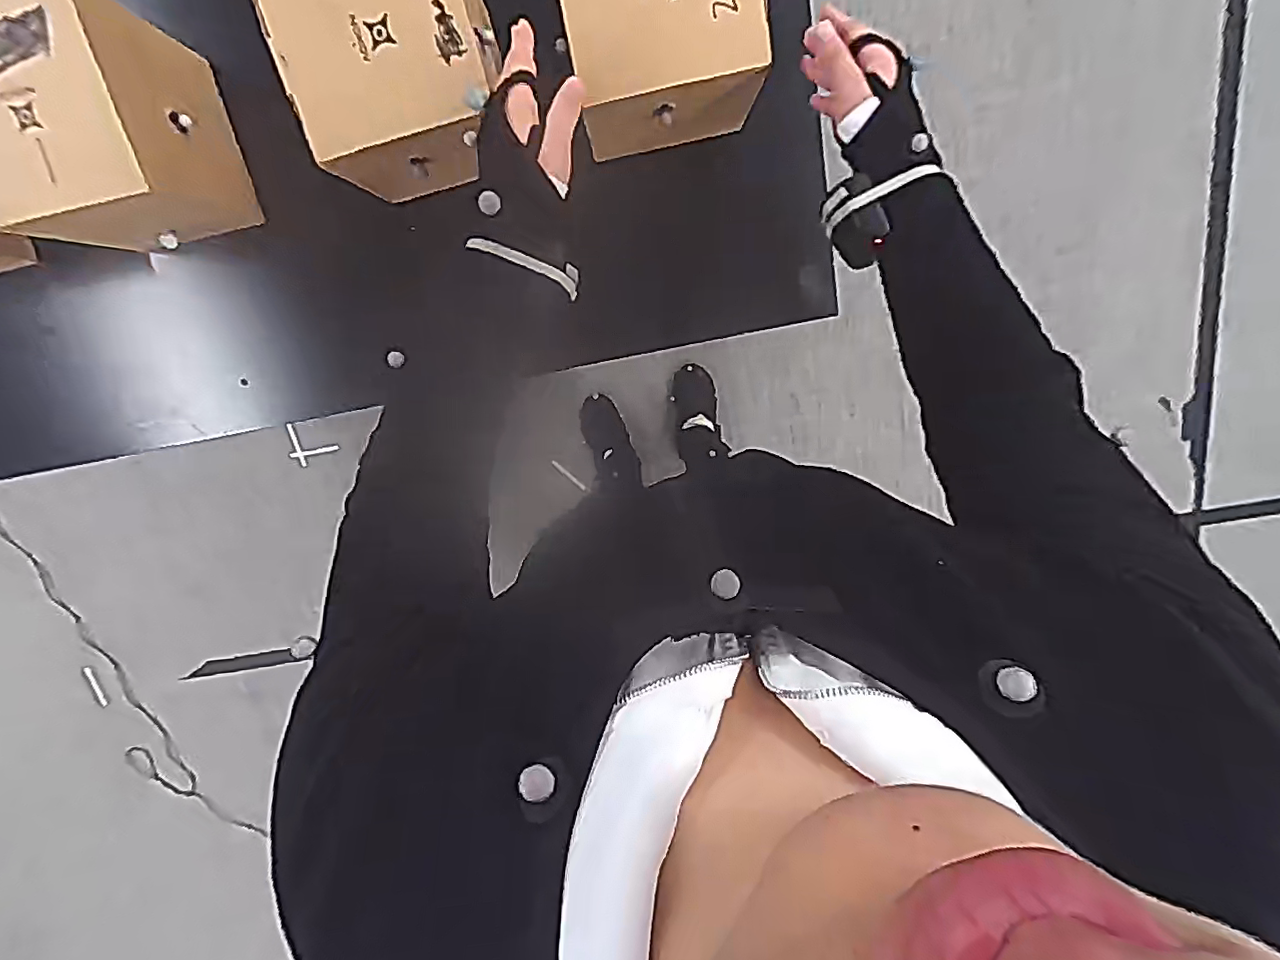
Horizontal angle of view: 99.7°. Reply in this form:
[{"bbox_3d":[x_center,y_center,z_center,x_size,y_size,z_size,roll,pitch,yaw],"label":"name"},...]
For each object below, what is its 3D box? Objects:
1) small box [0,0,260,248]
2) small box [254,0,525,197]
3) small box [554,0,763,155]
[{"bbox_3d":[-0.550,-0.357,0.560,0.168,0.176,0.179,-11,106,3],"label":"small box"},{"bbox_3d":[-0.236,-0.411,0.549,0.179,0.176,0.168,-15,106,4],"label":"small box"},{"bbox_3d":[0.011,-0.451,0.540,0.179,0.176,0.168,-11,106,3],"label":"small box"}]
